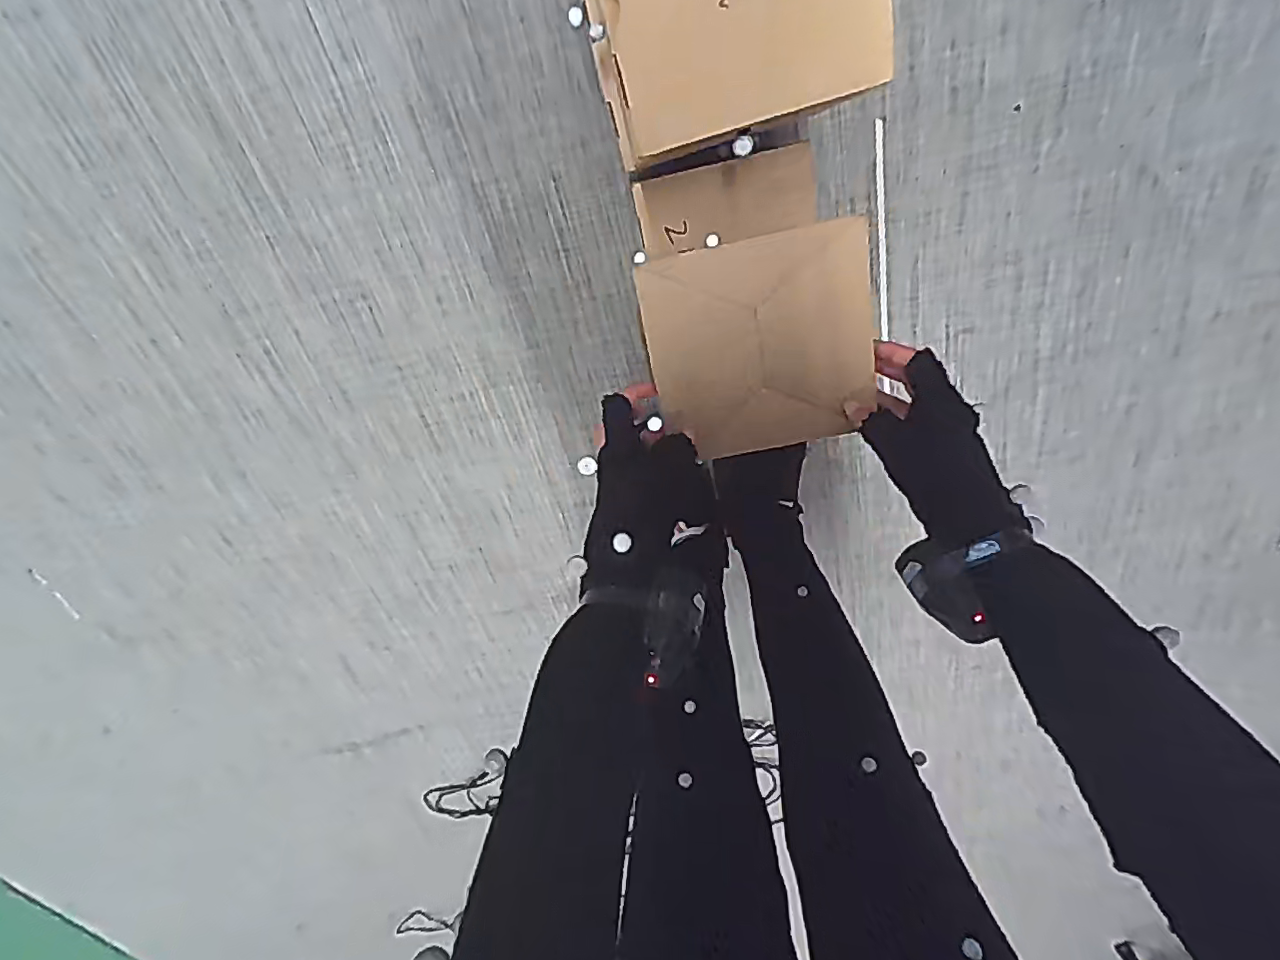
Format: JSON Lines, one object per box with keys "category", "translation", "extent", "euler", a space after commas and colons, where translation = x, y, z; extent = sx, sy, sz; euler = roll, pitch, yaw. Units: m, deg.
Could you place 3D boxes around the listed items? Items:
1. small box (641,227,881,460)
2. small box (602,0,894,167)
{"category": "small box", "translation": [0.100, -0.128, 0.503], "extent": [0.179, 0.176, 0.168], "euler": [-10, 110, 6]}
{"category": "small box", "translation": [0.065, -0.347, 0.400], "extent": [0.179, 0.176, 0.168], "euler": [-12, 118, 8]}
